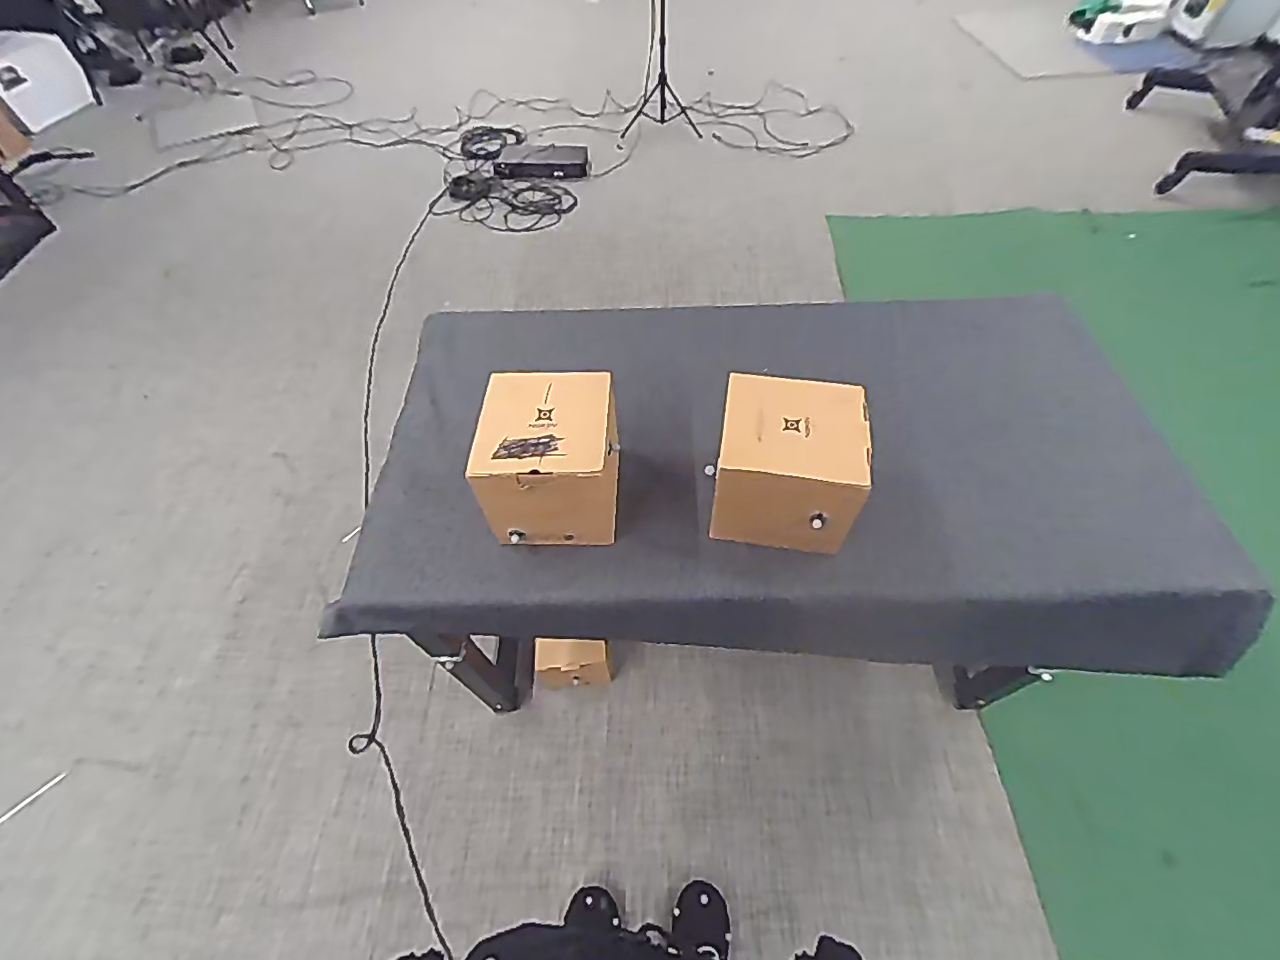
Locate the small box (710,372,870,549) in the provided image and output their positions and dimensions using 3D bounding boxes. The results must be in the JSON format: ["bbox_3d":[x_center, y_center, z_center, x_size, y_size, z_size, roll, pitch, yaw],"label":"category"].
[{"bbox_3d":[0.196,-0.021,0.738,0.179,0.176,0.168,7,55,8],"label":"small box"}]

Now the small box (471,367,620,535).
[{"bbox_3d":[-0.116,-0.036,0.753,0.168,0.176,0.179,1,54,2],"label":"small box"}]

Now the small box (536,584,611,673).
[{"bbox_3d":[-0.163,0.378,1.358,0.168,0.176,0.179,-4,57,-1],"label":"small box"}]
